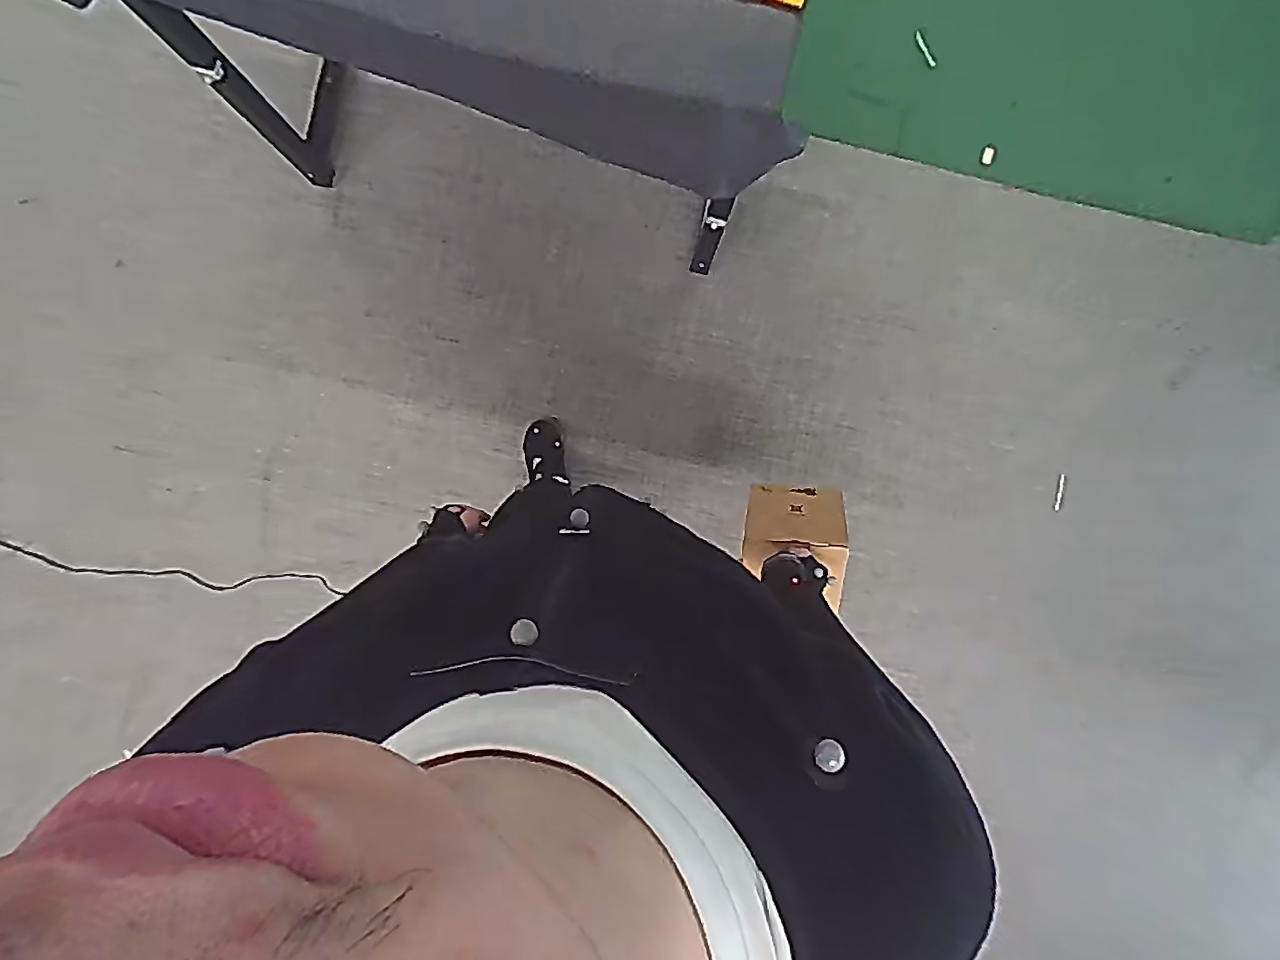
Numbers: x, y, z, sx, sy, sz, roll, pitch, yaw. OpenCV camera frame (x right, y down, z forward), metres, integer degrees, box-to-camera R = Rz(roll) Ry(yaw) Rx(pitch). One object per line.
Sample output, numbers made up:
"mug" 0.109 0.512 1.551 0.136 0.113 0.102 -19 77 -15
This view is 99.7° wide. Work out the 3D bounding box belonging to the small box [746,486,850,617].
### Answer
"small box" 0.282 0.128 0.978 0.168 0.179 0.176 0 123 14
